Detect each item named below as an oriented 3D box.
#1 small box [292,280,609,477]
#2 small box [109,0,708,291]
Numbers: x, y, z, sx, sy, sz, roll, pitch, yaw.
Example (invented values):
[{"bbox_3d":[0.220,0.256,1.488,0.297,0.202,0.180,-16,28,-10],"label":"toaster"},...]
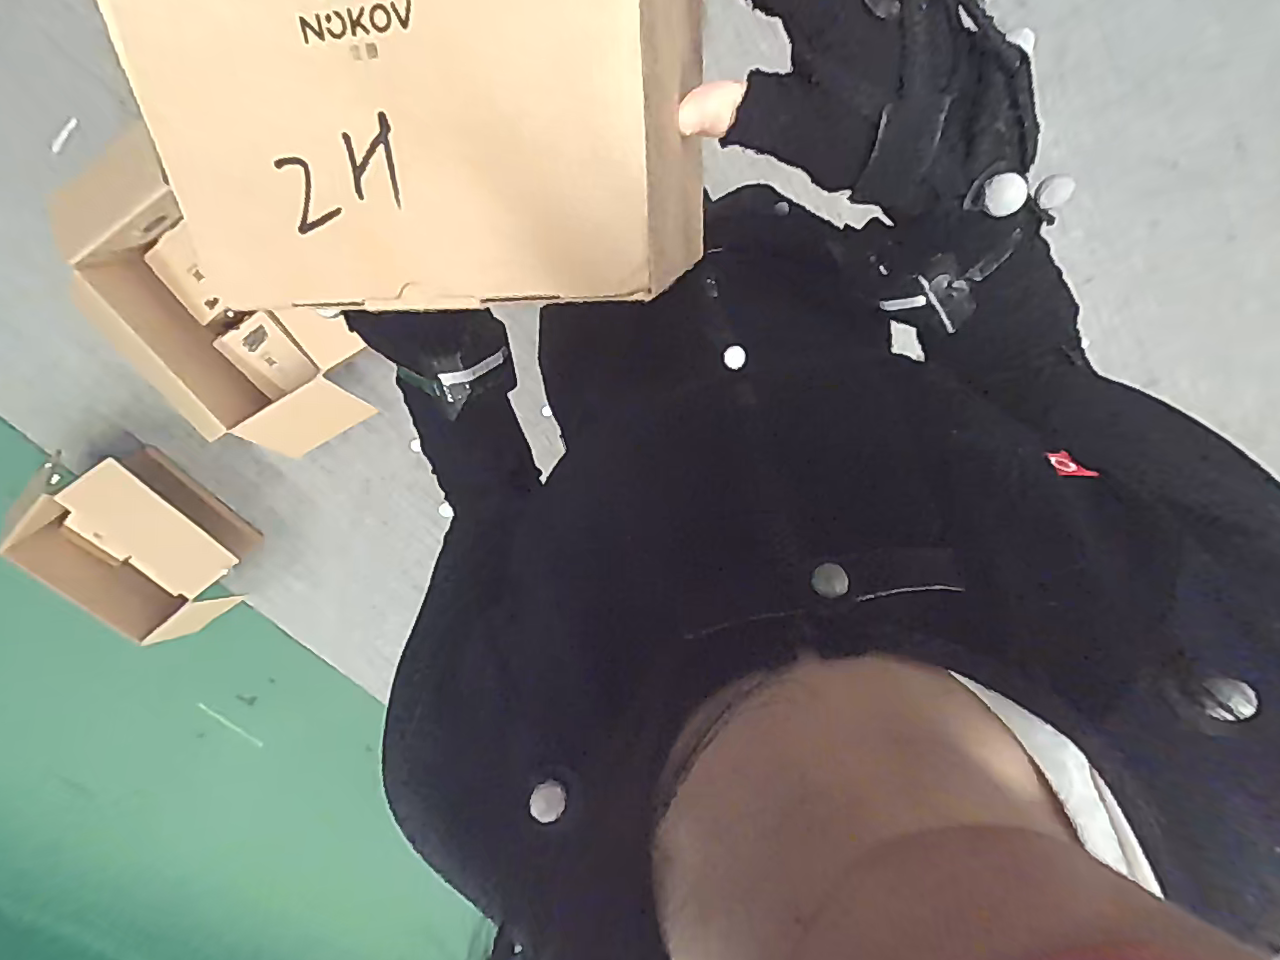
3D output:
[{"bbox_3d":[-0.139,-0.123,0.444,0.176,0.168,0.179,17,80,5],"label":"small box"},{"bbox_3d":[-0.063,-0.179,0.216,0.168,0.176,0.179,2,118,11],"label":"small box"}]
